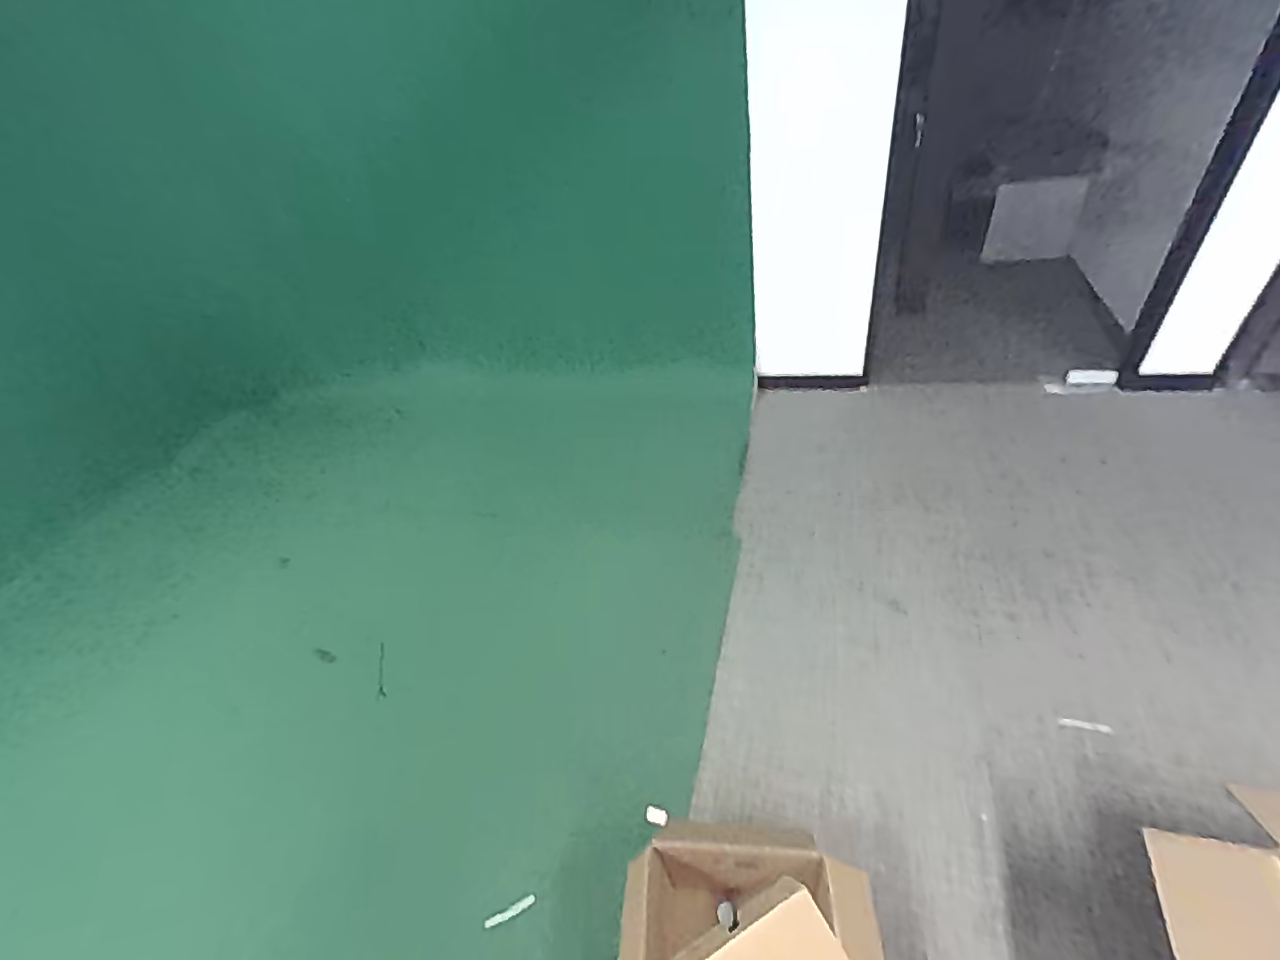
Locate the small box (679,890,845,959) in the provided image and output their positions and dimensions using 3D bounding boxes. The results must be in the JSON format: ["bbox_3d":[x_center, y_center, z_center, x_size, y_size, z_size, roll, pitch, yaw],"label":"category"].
[{"bbox_3d":[0.094,0.423,0.373,0.168,0.176,0.179,-29,57,-10],"label":"small box"}]
